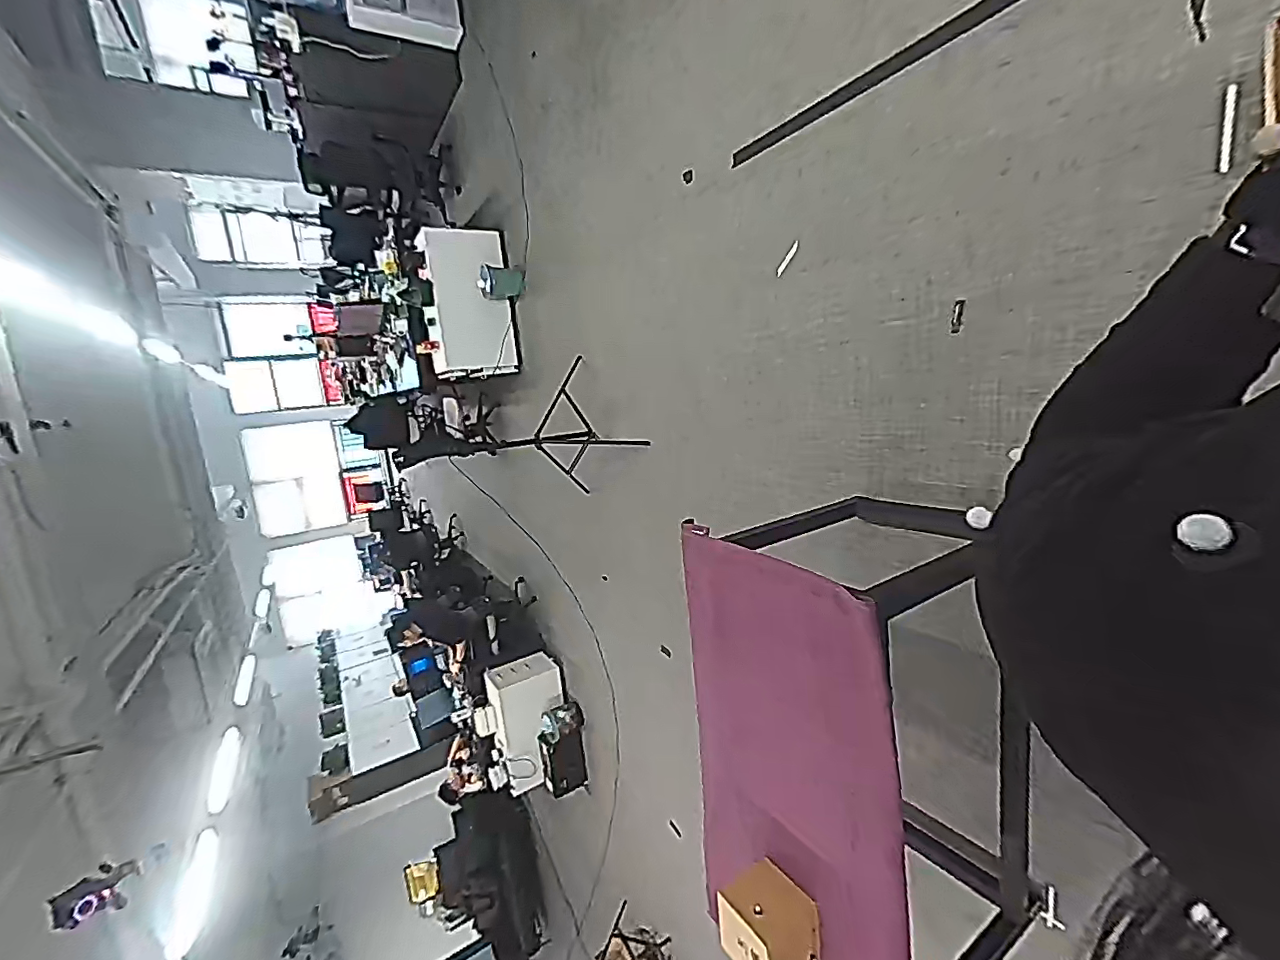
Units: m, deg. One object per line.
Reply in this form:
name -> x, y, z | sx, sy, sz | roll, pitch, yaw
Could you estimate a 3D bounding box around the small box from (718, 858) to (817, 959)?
small box -> 0.315, 1.080, 1.321 | 0.179, 0.176, 0.168 | 11, 109, 58
